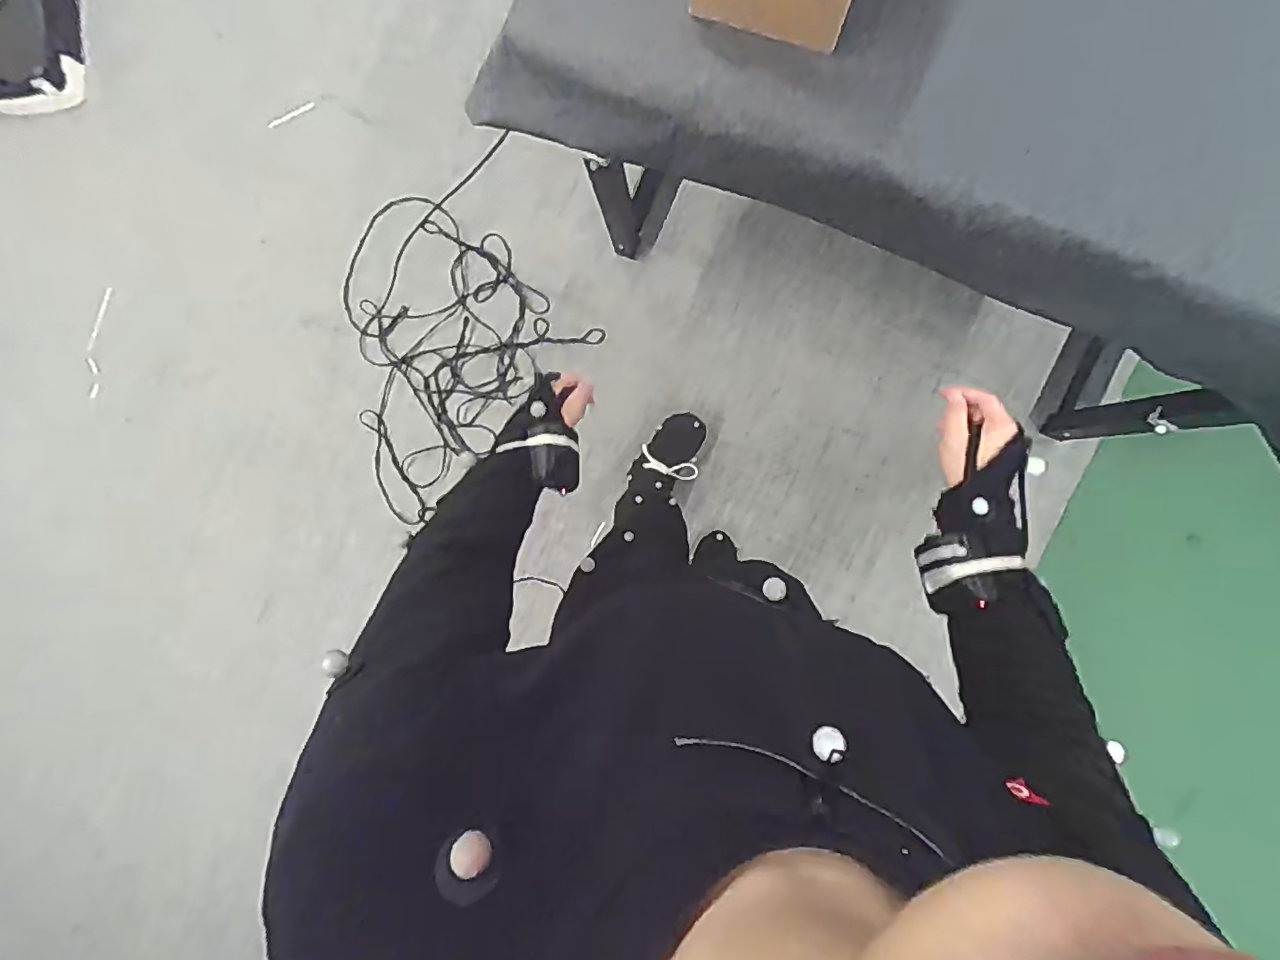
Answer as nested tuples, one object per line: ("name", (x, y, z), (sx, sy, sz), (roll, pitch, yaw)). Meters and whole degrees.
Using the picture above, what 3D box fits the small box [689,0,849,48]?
("small box", (0.155, -0.586, 0.540), (0.179, 0.176, 0.168), (20, 91, 5))
